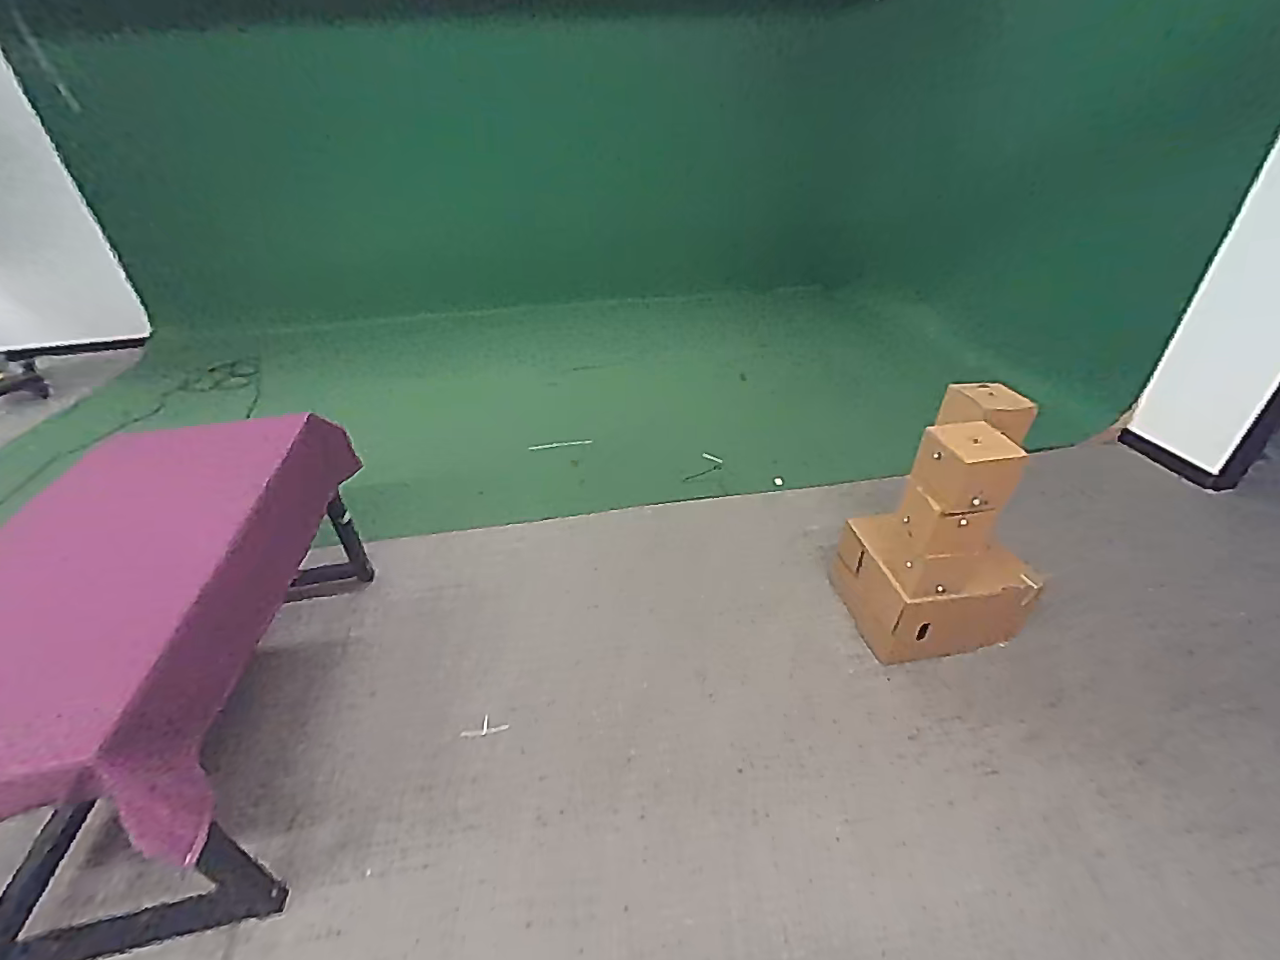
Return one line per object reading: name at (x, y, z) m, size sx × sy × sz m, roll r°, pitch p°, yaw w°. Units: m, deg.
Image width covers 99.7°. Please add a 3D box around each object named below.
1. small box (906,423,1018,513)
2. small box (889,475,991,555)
small box at (0.841, -0.033, 1.436) m, size 0.168 × 0.176 × 0.179 m, roll -7°, pitch 37°, yaw -6°
small box at (0.842, 0.096, 1.535) m, size 0.179 × 0.176 × 0.168 m, roll -4°, pitch 36°, yaw -3°
